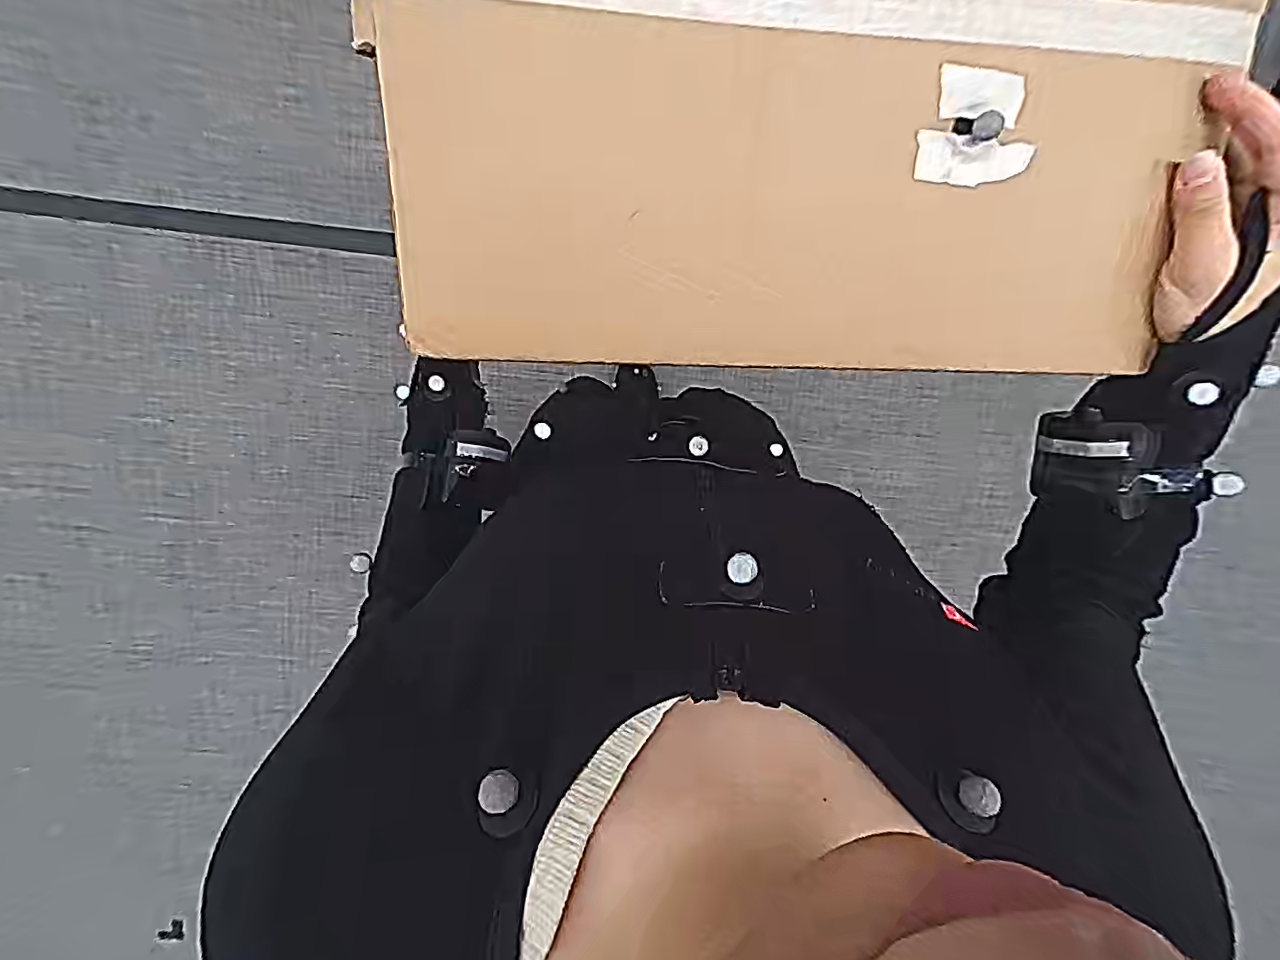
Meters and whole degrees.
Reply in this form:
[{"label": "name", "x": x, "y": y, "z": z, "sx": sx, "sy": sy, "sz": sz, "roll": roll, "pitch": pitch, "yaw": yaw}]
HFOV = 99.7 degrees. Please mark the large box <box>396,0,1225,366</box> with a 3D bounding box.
[{"label": "large box", "x": 0.071, "y": -0.256, "z": 0.394, "sx": 0.408, "sy": 0.320, "sz": 0.320, "roll": -1, "pitch": 108, "yaw": -7}]
